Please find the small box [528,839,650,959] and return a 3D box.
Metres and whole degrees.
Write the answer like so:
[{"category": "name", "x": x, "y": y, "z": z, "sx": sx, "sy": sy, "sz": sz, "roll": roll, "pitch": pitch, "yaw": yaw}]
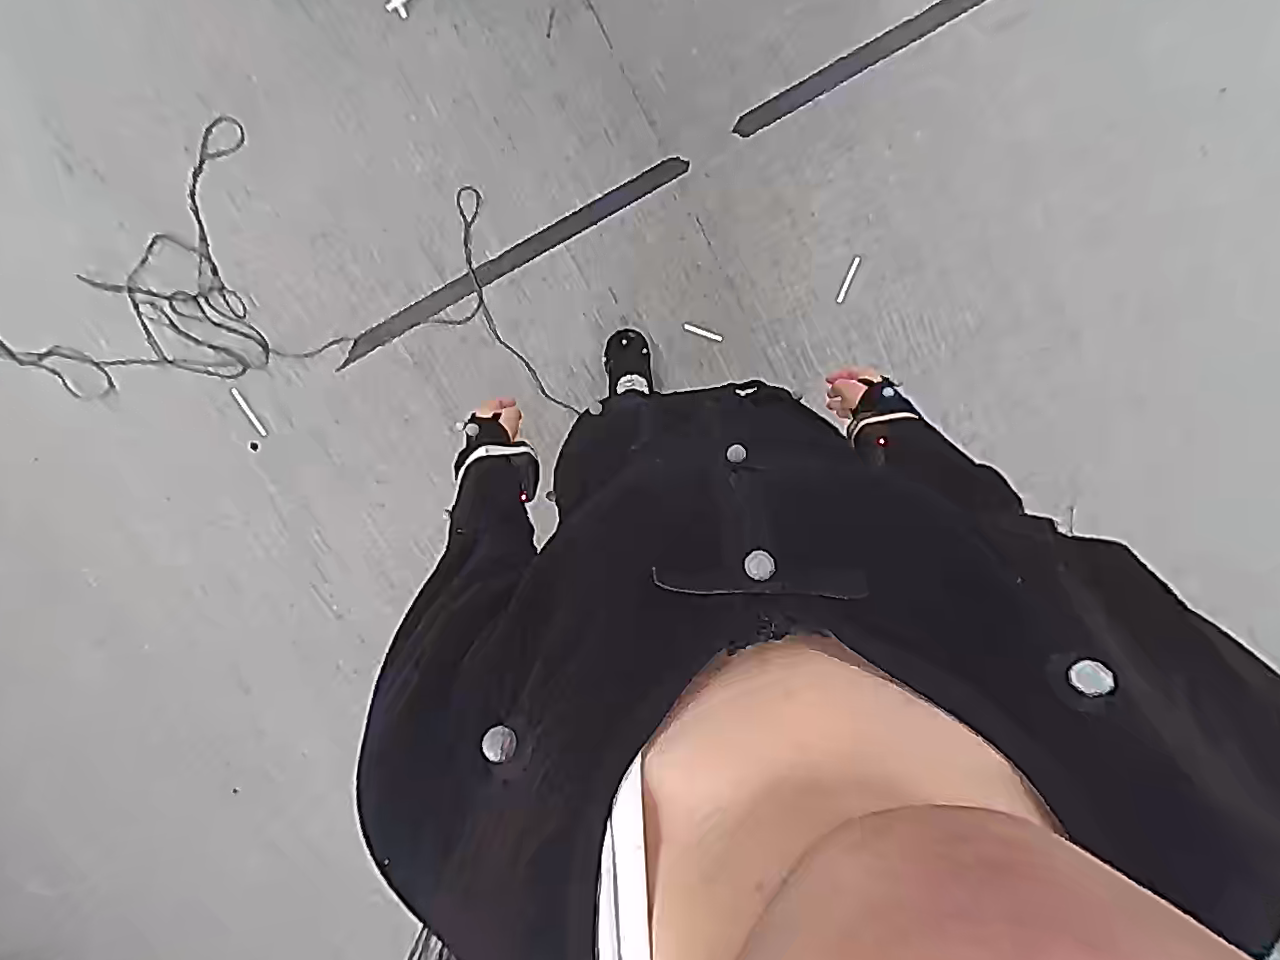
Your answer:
[{"category": "small box", "x": -0.092, "y": 0.768, "z": 0.930, "sx": 0.168, "sy": 0.176, "sz": 0.179, "roll": 19, "pitch": 102, "yaw": -5}]
